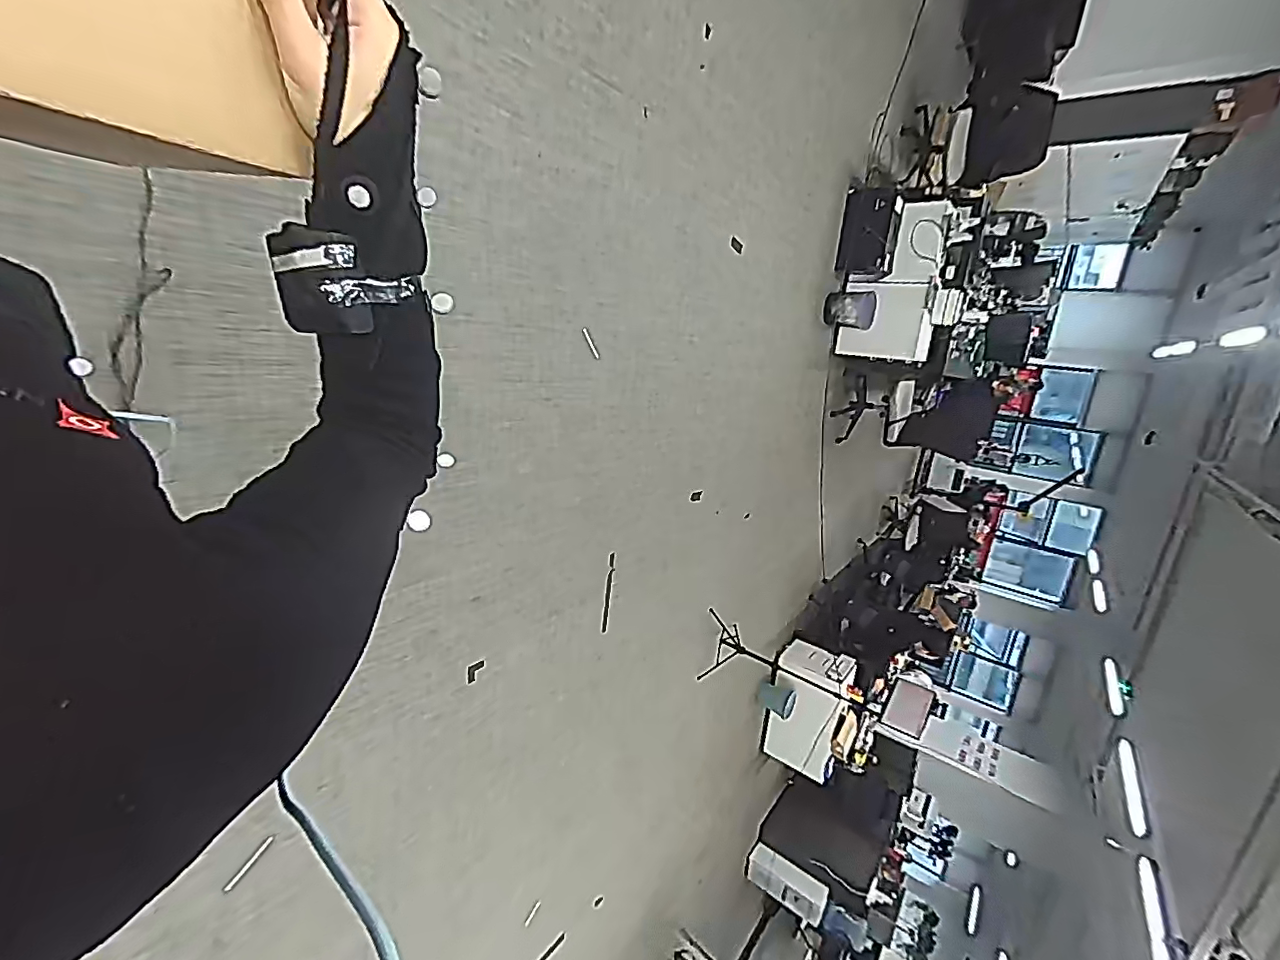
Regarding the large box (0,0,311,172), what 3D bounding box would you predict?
[{"bbox_3d":[-0.409,-0.338,0.194,0.408,0.320,0.320,-18,124,-56],"label":"large box"}]
